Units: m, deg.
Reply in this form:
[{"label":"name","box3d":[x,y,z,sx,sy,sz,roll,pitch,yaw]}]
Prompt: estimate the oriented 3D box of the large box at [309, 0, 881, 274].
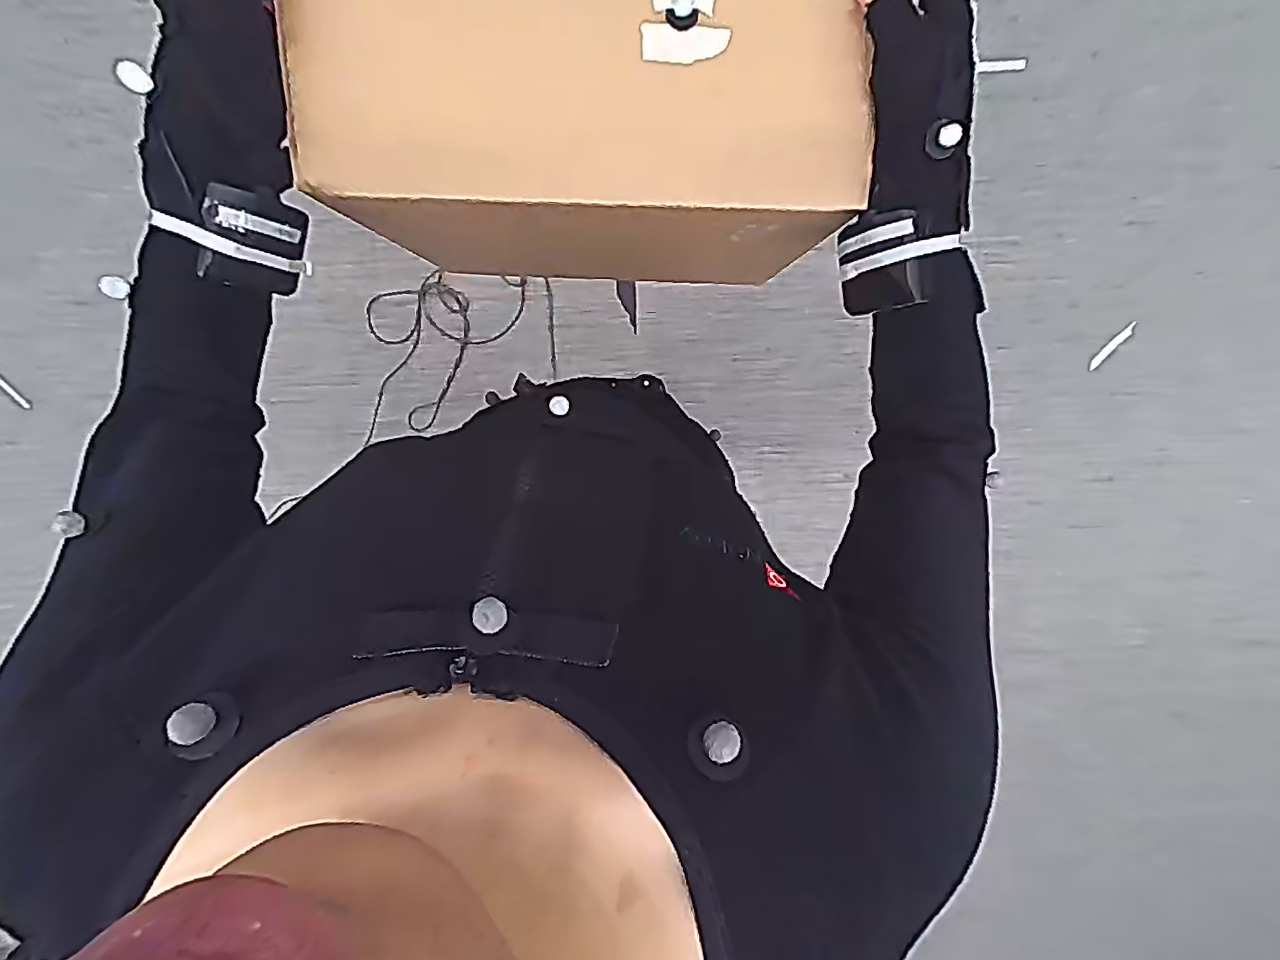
[{"label":"large box","box3d":[-0.033,-0.387,0.515,0.408,0.320,0.320,1,101,-1]}]
